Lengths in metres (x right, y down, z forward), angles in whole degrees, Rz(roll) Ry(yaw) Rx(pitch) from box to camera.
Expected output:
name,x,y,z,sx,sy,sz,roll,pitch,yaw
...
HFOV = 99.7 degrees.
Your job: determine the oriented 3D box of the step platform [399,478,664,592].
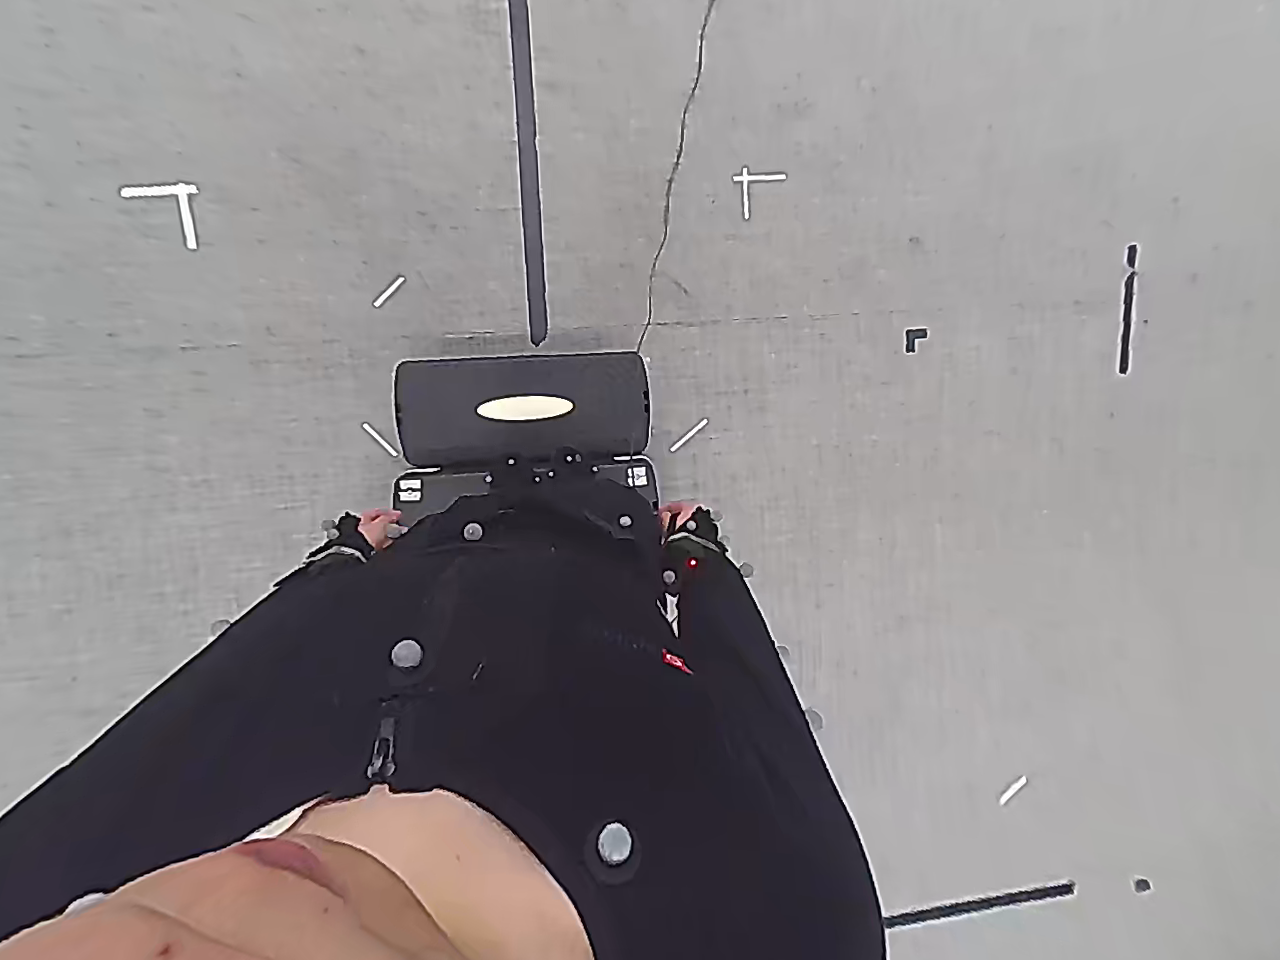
name,x,y,z,sx,sy,sz,roll,pitch,yaw
step platform,-0.277,0.144,1.455,0.684,0.204,0.286,1,94,-6
